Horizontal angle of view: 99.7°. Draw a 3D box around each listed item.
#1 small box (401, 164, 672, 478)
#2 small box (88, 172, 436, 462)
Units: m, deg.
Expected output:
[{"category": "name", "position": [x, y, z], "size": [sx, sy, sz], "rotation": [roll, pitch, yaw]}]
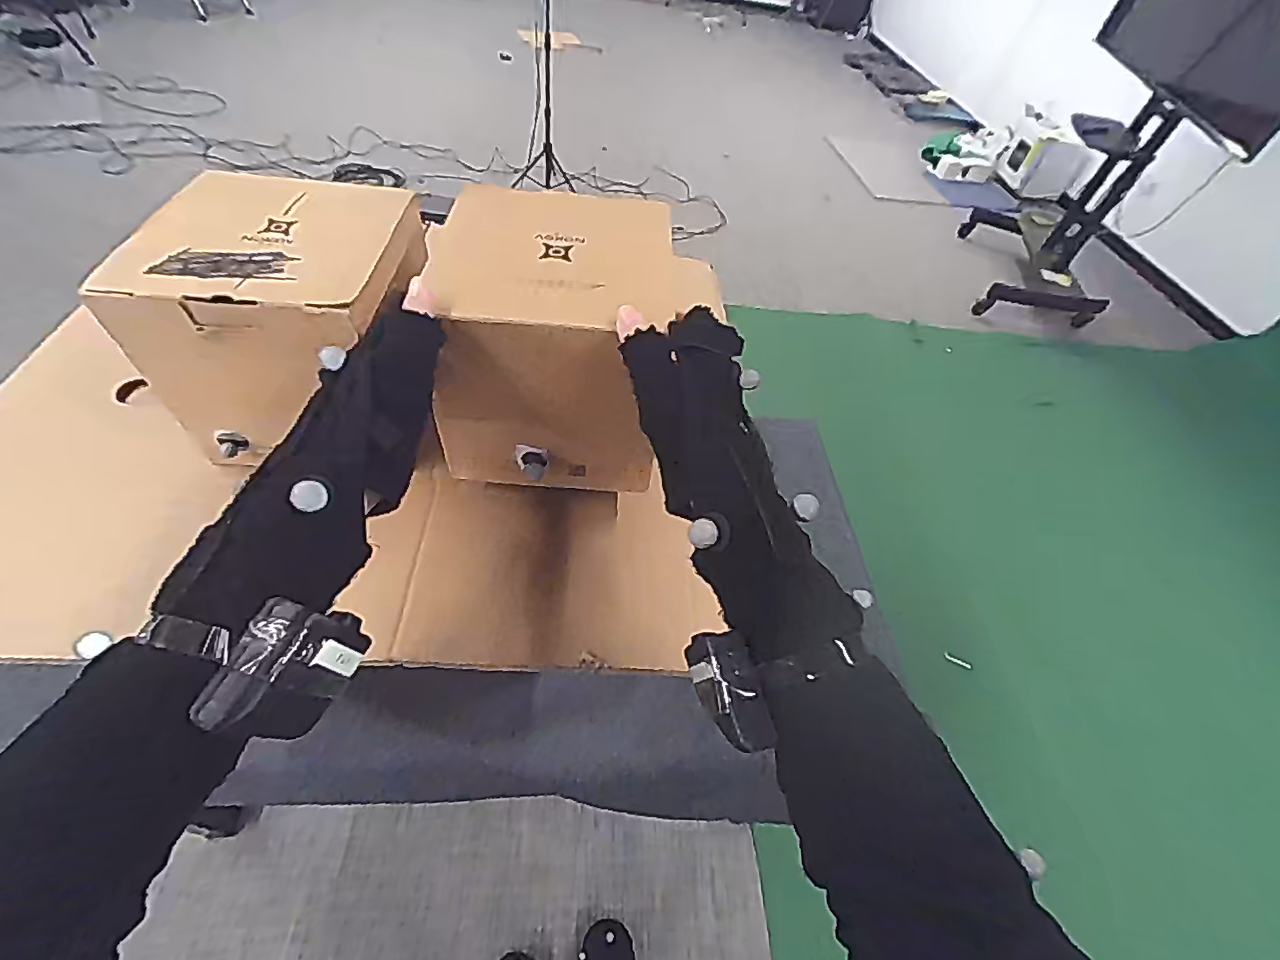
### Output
[{"category": "small box", "position": [-0.068, -0.123, 0.437], "size": [0.168, 0.176, 0.179], "rotation": [2, 54, -4]}, {"category": "small box", "position": [-0.278, -0.132, 0.462], "size": [0.168, 0.176, 0.179], "rotation": [3, 51, -5]}]
